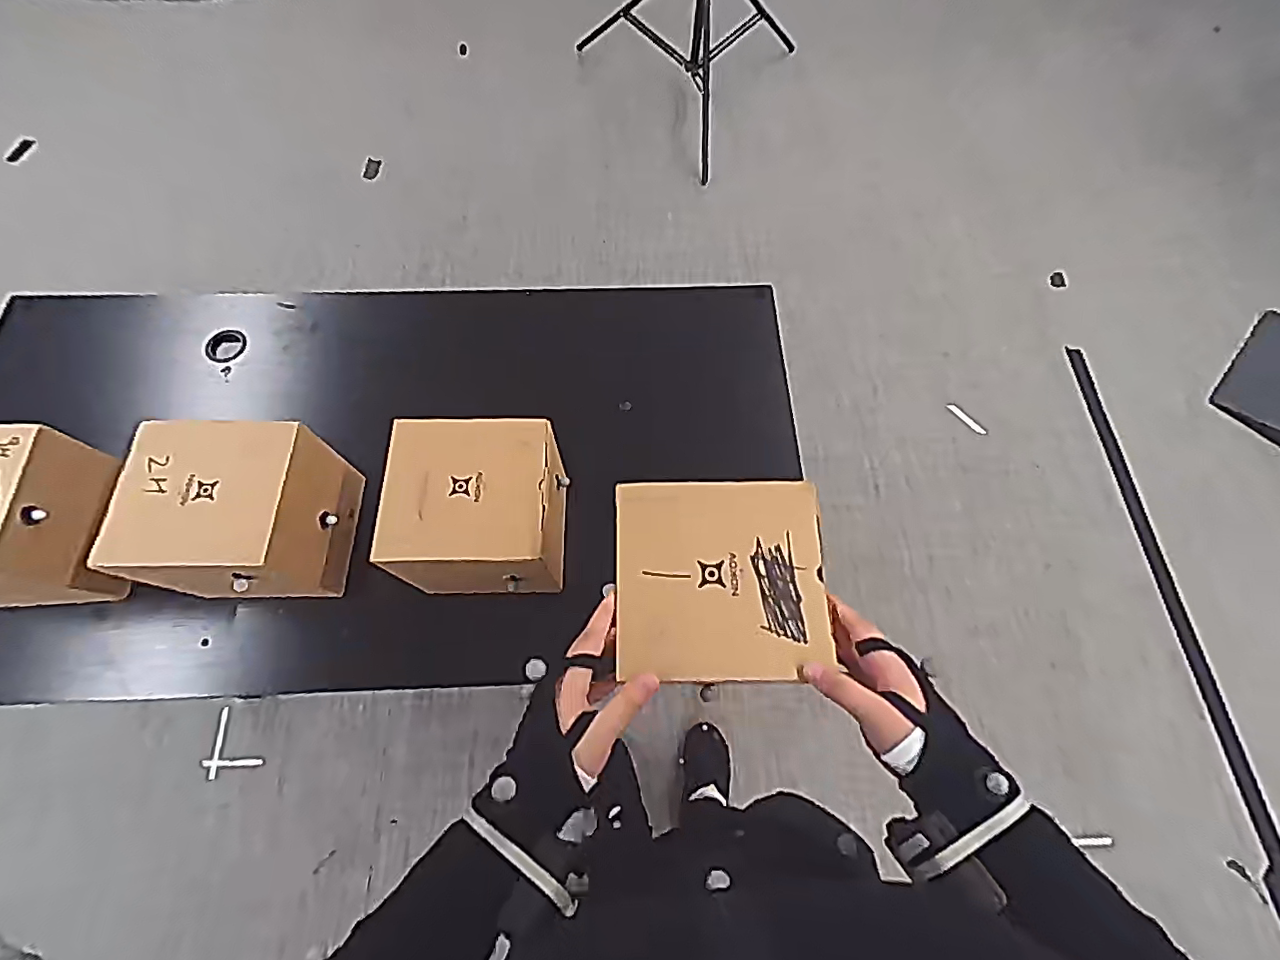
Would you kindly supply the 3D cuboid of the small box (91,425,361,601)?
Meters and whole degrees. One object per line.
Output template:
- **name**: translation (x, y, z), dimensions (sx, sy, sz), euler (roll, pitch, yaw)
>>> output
- **small box**: translation (-0.463, 0.046, 0.644), dimensions (0.179, 0.176, 0.168), euler (0, 67, -1)

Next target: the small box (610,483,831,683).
- **small box**: translation (0.063, 0.107, 0.523), dimensions (0.179, 0.176, 0.168), euler (0, 69, 0)

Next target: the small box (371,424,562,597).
- **small box**: translation (-0.190, 0.044, 0.653), dimensions (0.179, 0.176, 0.168), euler (-2, 67, -1)

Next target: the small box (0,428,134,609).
- **small box**: translation (-0.737, 0.054, 0.636), dimensions (0.179, 0.176, 0.168), euler (-4, 68, -2)
